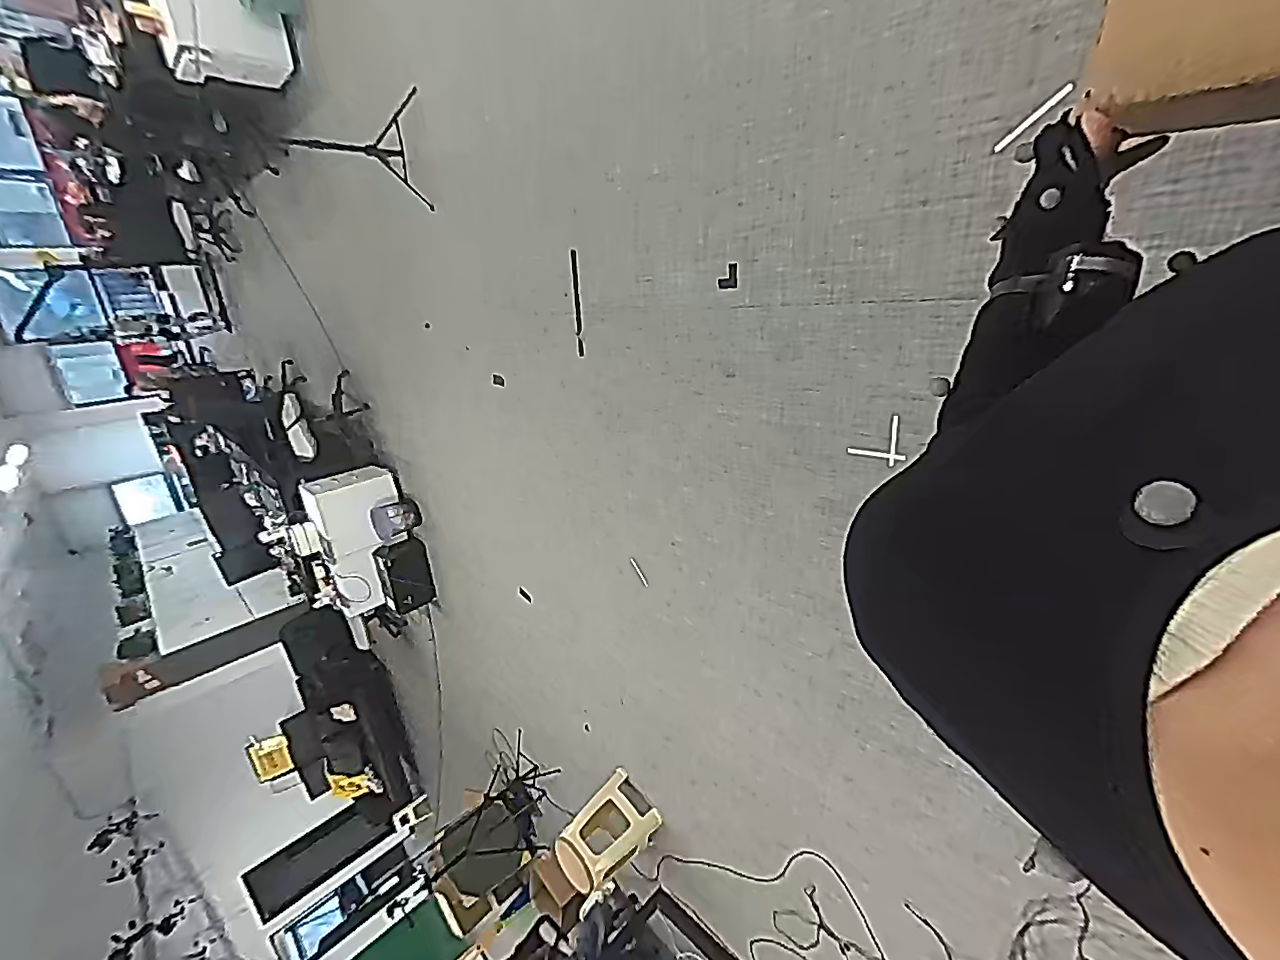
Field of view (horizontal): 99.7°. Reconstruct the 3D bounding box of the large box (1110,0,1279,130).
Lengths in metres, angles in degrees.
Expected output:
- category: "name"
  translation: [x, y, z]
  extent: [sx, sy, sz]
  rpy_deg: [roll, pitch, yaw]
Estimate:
- category: "large box"
  translation: [0.427, -0.324, 0.149]
  extent: [0.408, 0.320, 0.320]
  rpy_deg: [15, 123, 38]
